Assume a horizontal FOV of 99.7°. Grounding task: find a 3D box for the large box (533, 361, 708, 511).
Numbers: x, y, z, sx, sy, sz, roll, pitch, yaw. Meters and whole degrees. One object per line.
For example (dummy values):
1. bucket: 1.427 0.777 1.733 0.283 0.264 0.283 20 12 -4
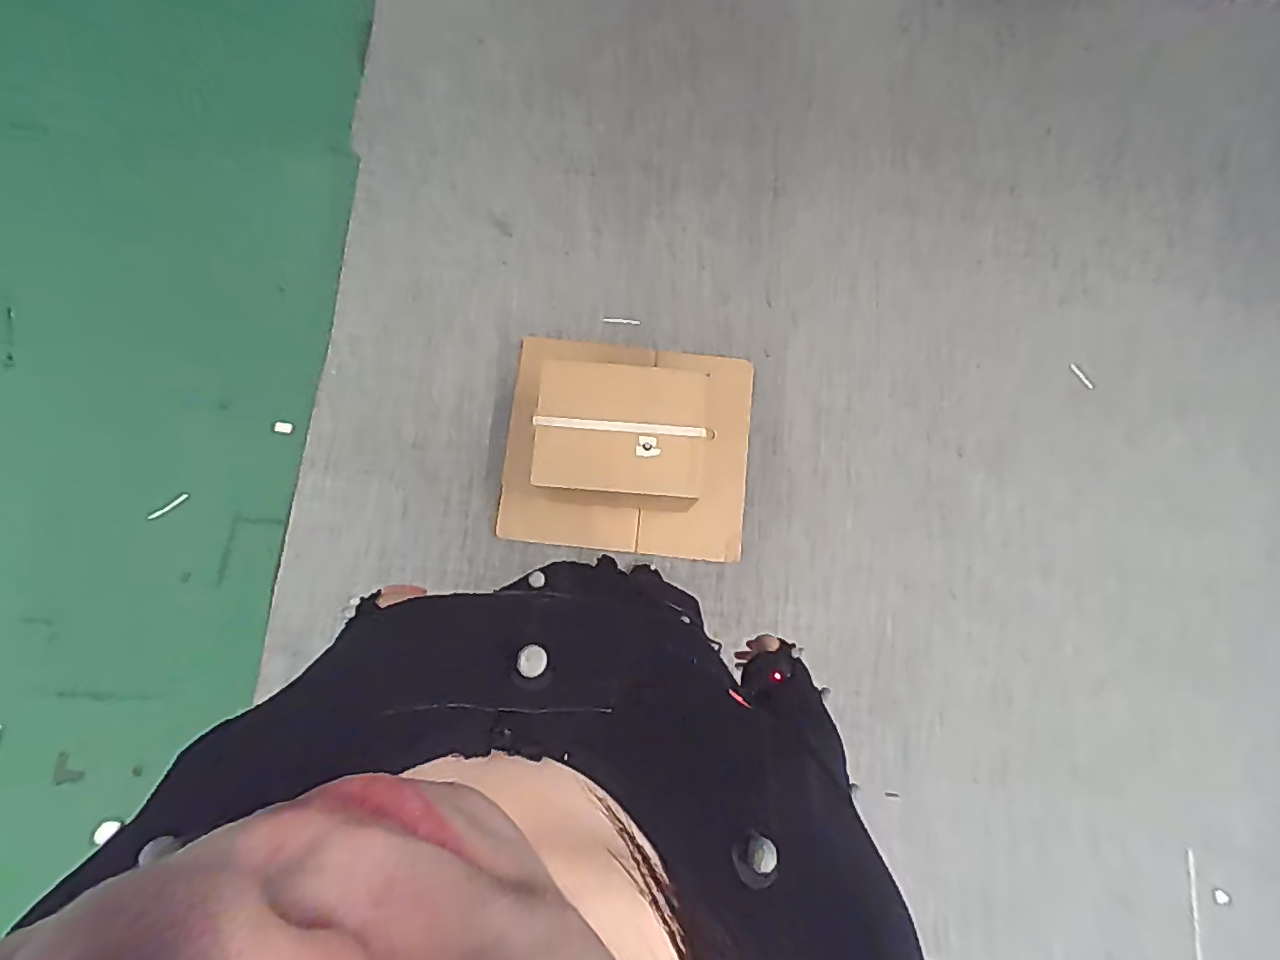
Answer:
1. large box: -0.051 -0.096 1.415 0.408 0.320 0.320 4 81 -2
